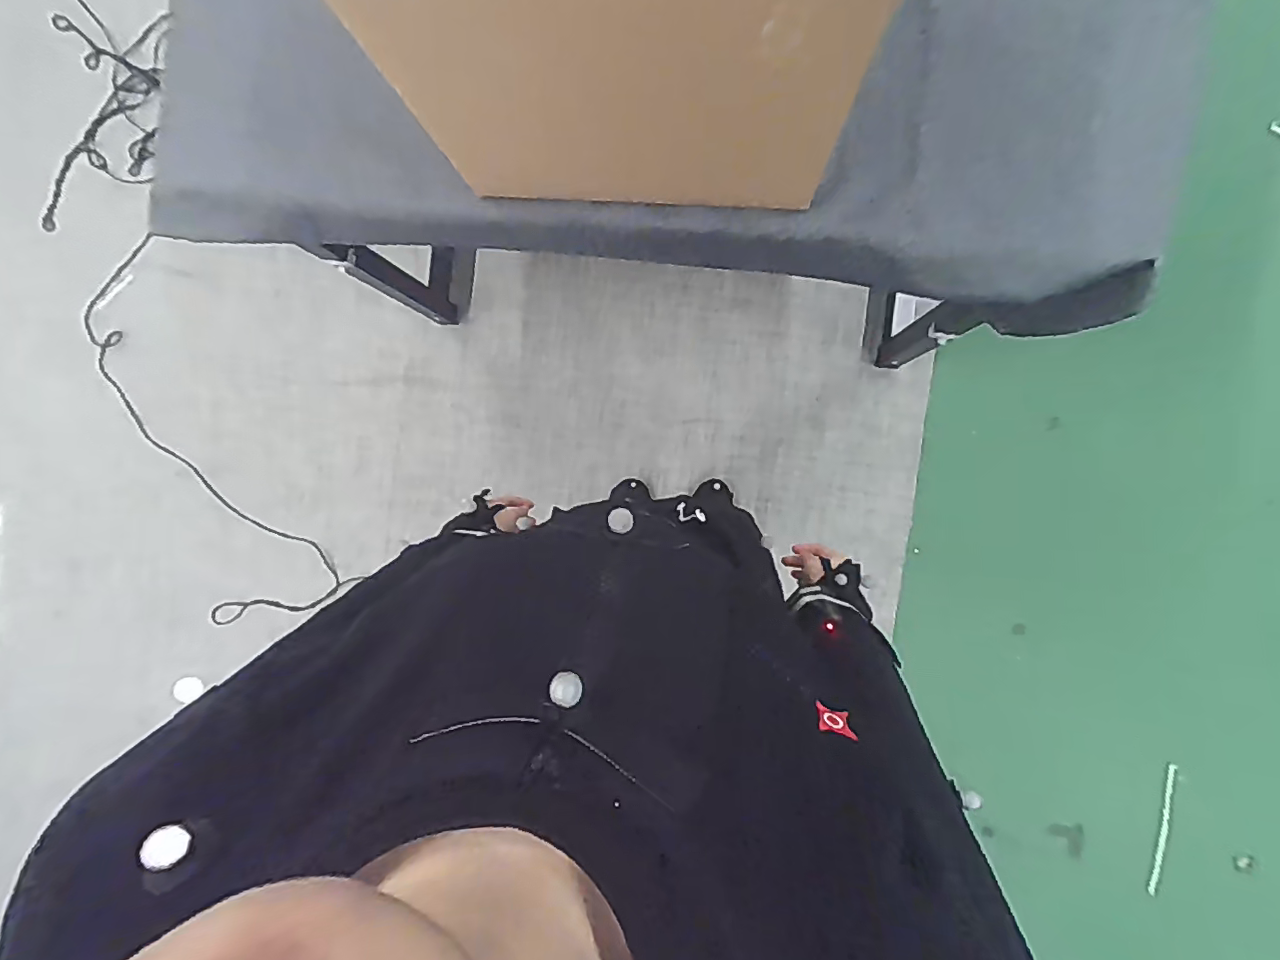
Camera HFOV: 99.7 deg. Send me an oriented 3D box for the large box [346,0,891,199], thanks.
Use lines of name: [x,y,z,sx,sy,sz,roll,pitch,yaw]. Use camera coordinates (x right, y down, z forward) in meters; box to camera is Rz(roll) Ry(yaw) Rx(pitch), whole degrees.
large box: [-0.005,-0.487,0.495,0.408,0.320,0.320,4,90,5]
